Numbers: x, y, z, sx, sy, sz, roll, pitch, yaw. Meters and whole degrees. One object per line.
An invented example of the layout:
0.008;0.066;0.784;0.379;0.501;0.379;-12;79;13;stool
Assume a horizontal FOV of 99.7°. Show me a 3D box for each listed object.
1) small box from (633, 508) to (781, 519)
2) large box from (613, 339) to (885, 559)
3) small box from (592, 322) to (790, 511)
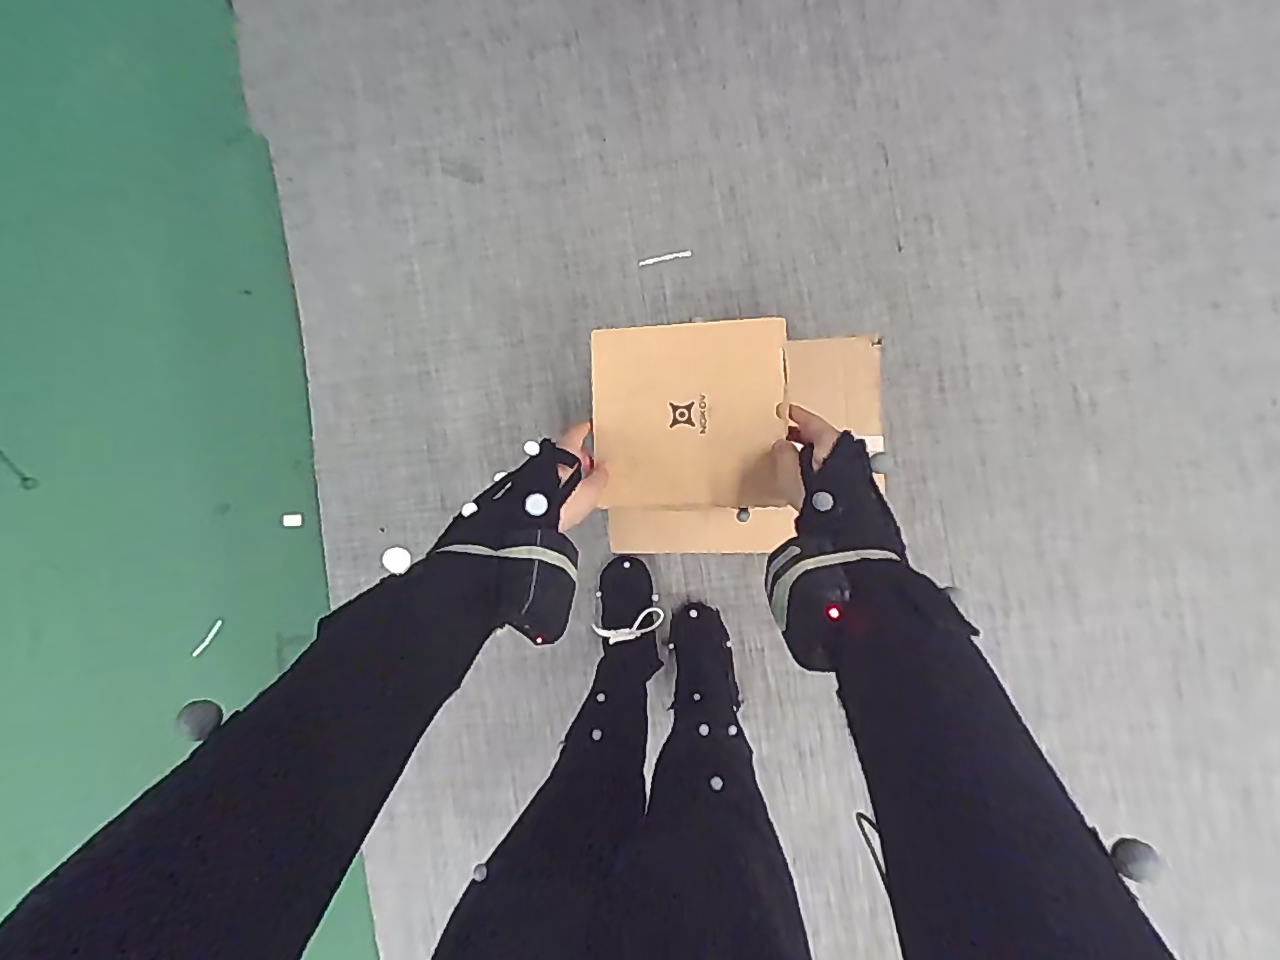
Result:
0.089;-0.035;0.719;0.179;0.176;0.168;-1;88;10;small box
0.168;-0.040;0.952;0.408;0.320;0.320;-2;90;8;large box
0.056;-0.051;0.560;0.179;0.176;0.168;-2;88;9;small box
